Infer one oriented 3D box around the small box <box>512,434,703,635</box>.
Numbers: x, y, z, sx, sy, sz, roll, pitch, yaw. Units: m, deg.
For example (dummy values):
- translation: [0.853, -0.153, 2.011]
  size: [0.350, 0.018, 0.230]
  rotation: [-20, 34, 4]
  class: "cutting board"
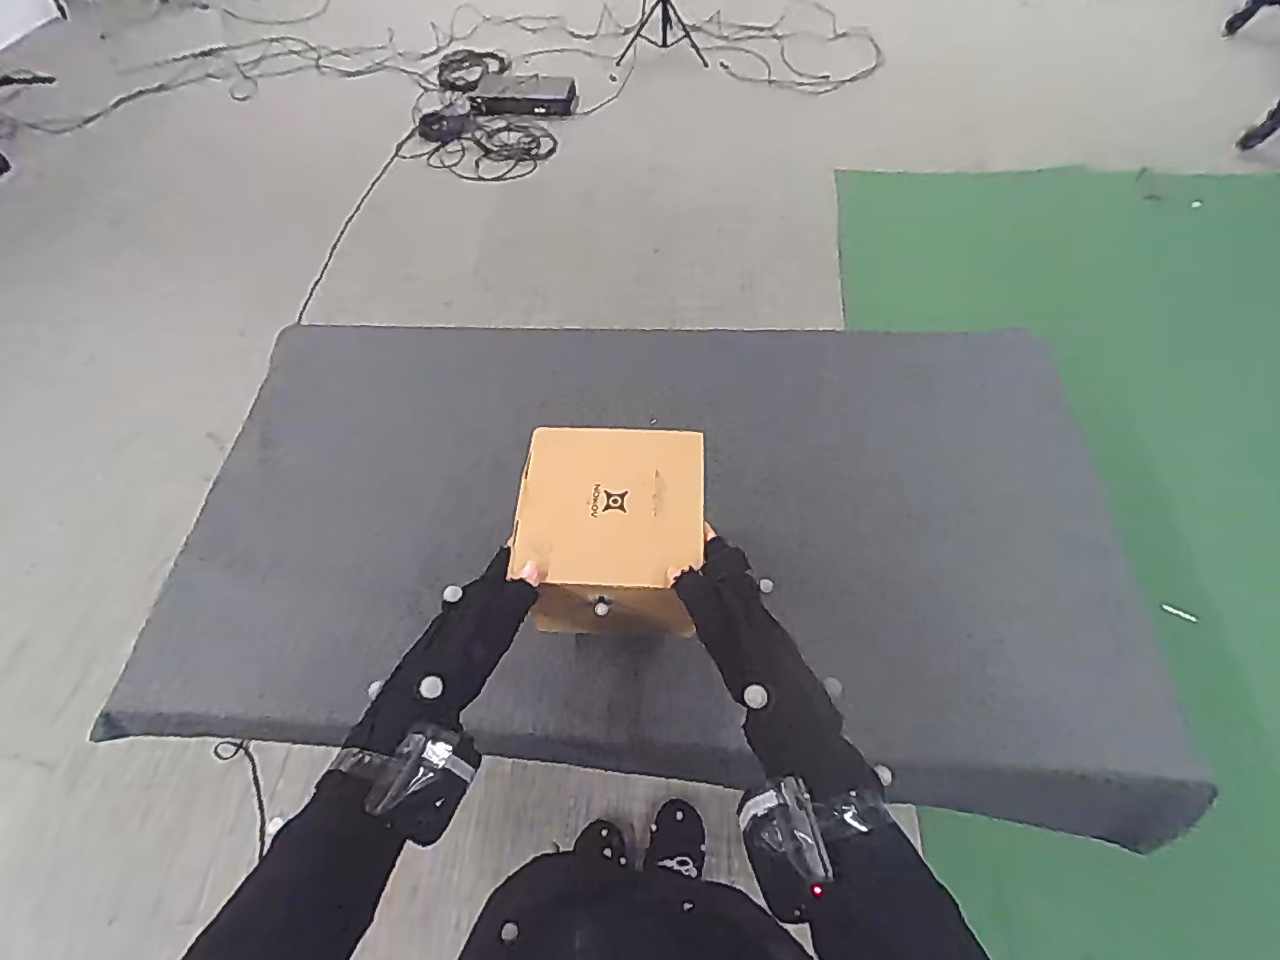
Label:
- translation: [-0.025, 0.066, 0.591]
  size: [0.179, 0.176, 0.168]
  rotation: [1, 60, 2]
  class: "small box"
